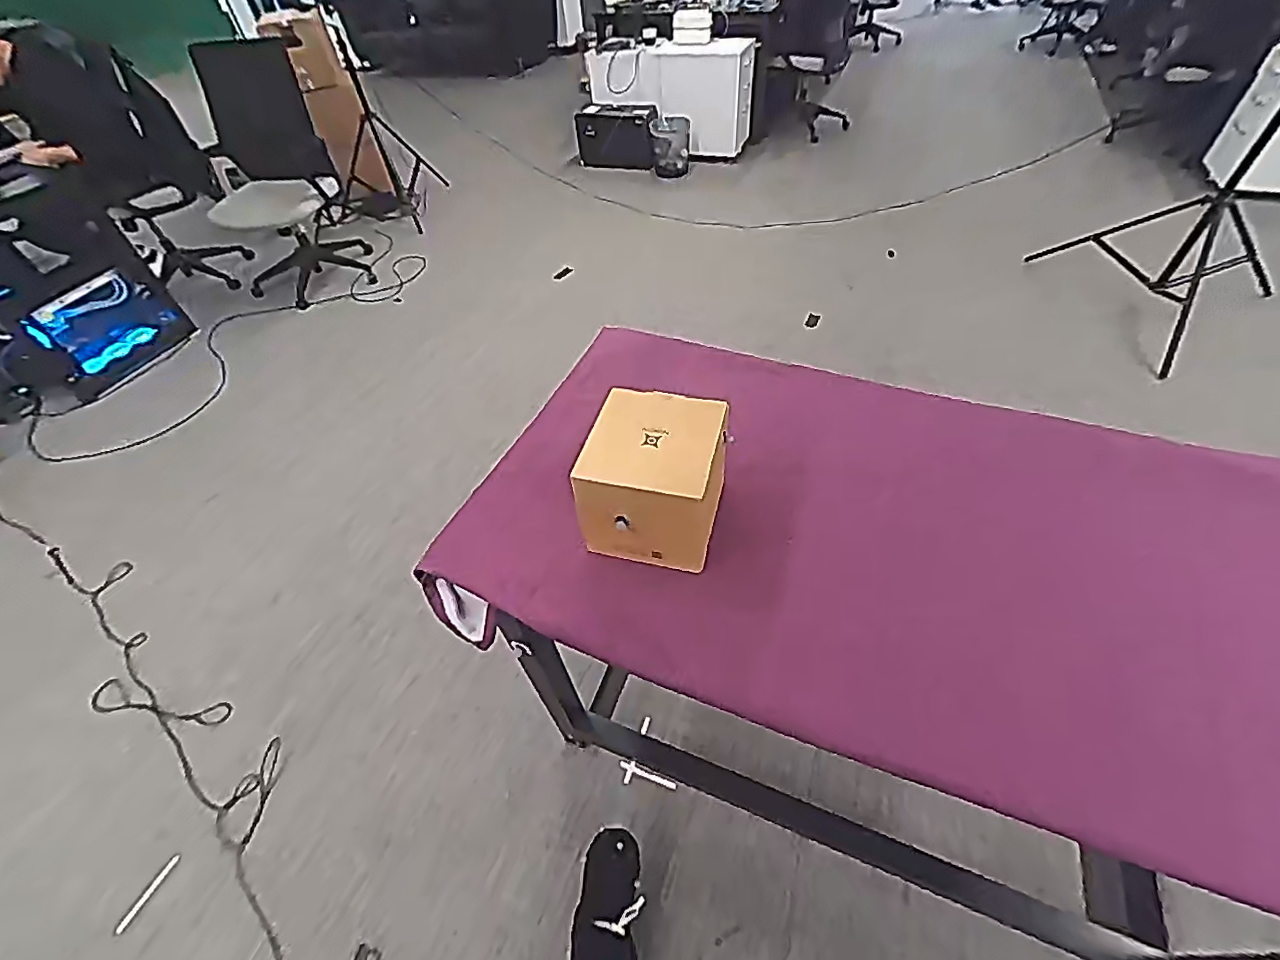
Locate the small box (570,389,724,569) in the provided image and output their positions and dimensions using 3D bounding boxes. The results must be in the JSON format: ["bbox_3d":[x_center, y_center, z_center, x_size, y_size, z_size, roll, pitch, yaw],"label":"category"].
[{"bbox_3d":[0.020,0.000,0.751,0.168,0.176,0.179,9,49,13],"label":"small box"}]
